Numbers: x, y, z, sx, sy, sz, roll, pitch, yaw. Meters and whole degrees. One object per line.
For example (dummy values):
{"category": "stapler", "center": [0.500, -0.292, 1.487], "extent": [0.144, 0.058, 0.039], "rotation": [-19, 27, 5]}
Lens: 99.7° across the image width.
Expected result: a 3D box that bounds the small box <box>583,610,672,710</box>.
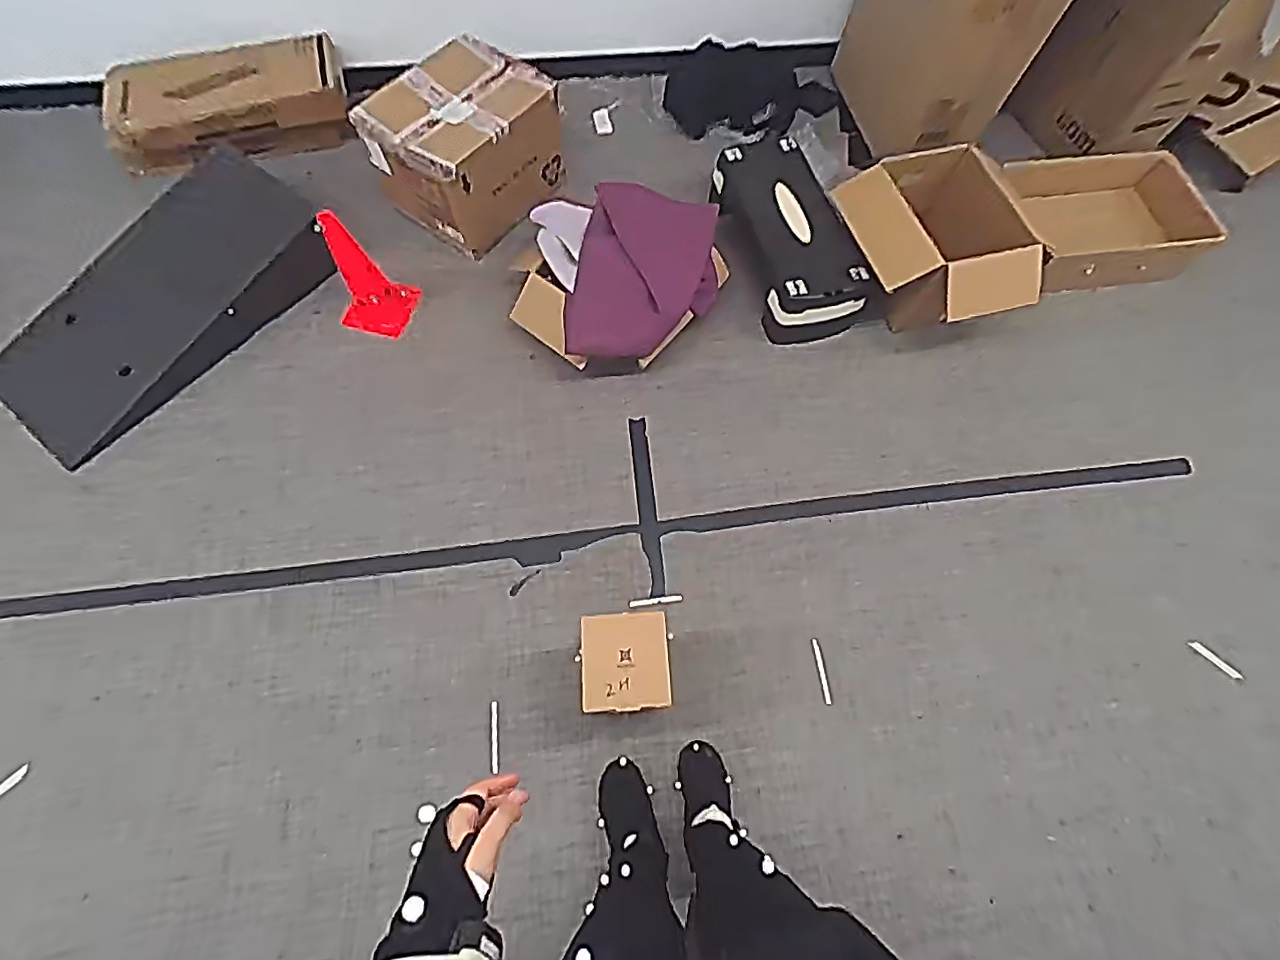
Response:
{"category": "small box", "center": [-0.029, 0.368, 1.095], "extent": [0.168, 0.176, 0.179], "rotation": [-2, 69, -2]}
